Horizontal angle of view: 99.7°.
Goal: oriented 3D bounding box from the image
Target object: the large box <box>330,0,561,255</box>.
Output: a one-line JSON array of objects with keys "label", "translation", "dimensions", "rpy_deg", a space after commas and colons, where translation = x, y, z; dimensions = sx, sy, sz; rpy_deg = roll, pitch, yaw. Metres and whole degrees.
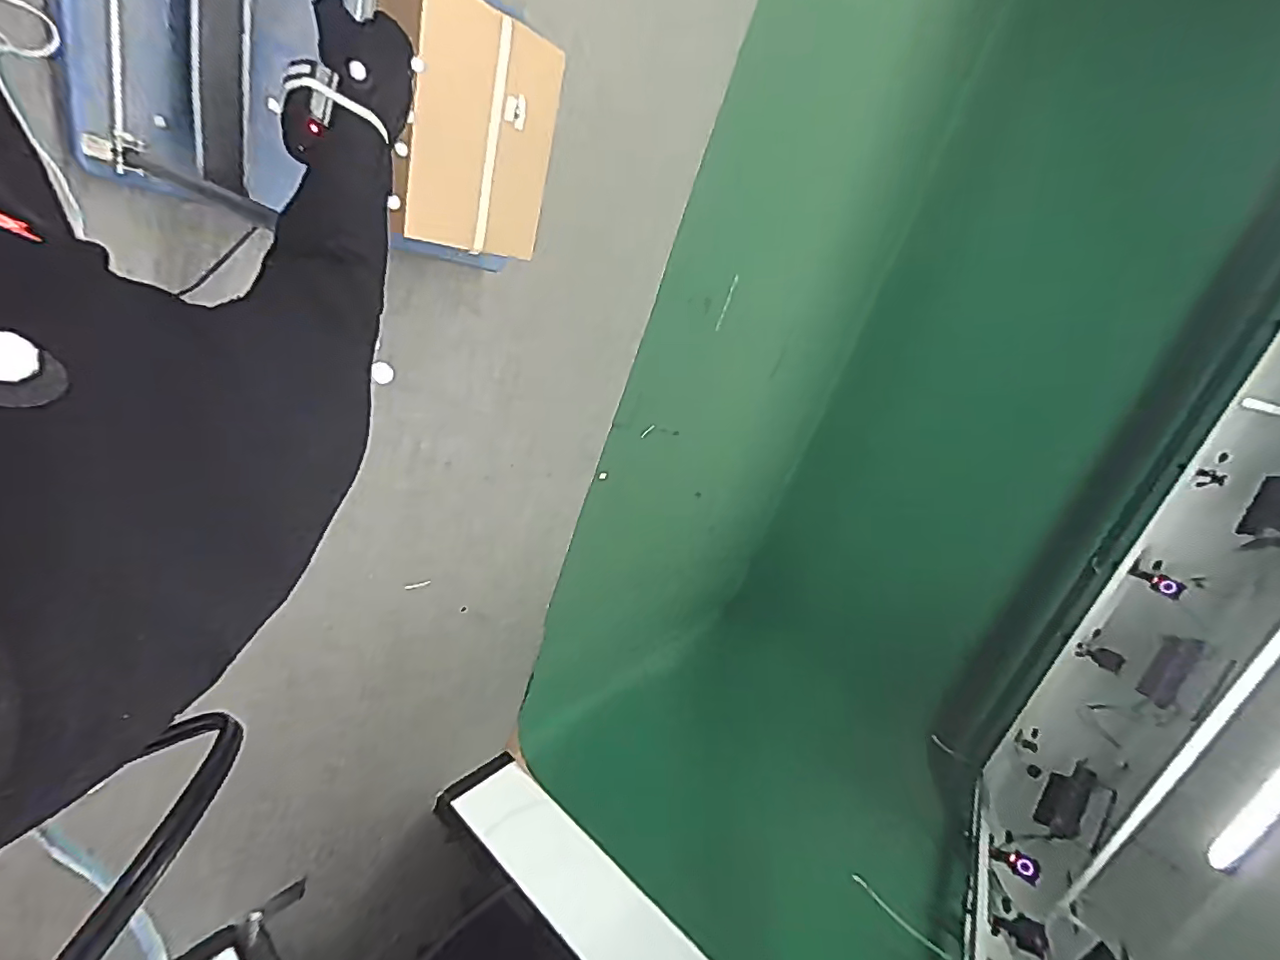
[{"label": "large box", "translation": [-0.407, -0.717, 1.104], "dimensions": [0.320, 0.320, 0.408], "rpy_deg": [-17, 129, -52]}]
